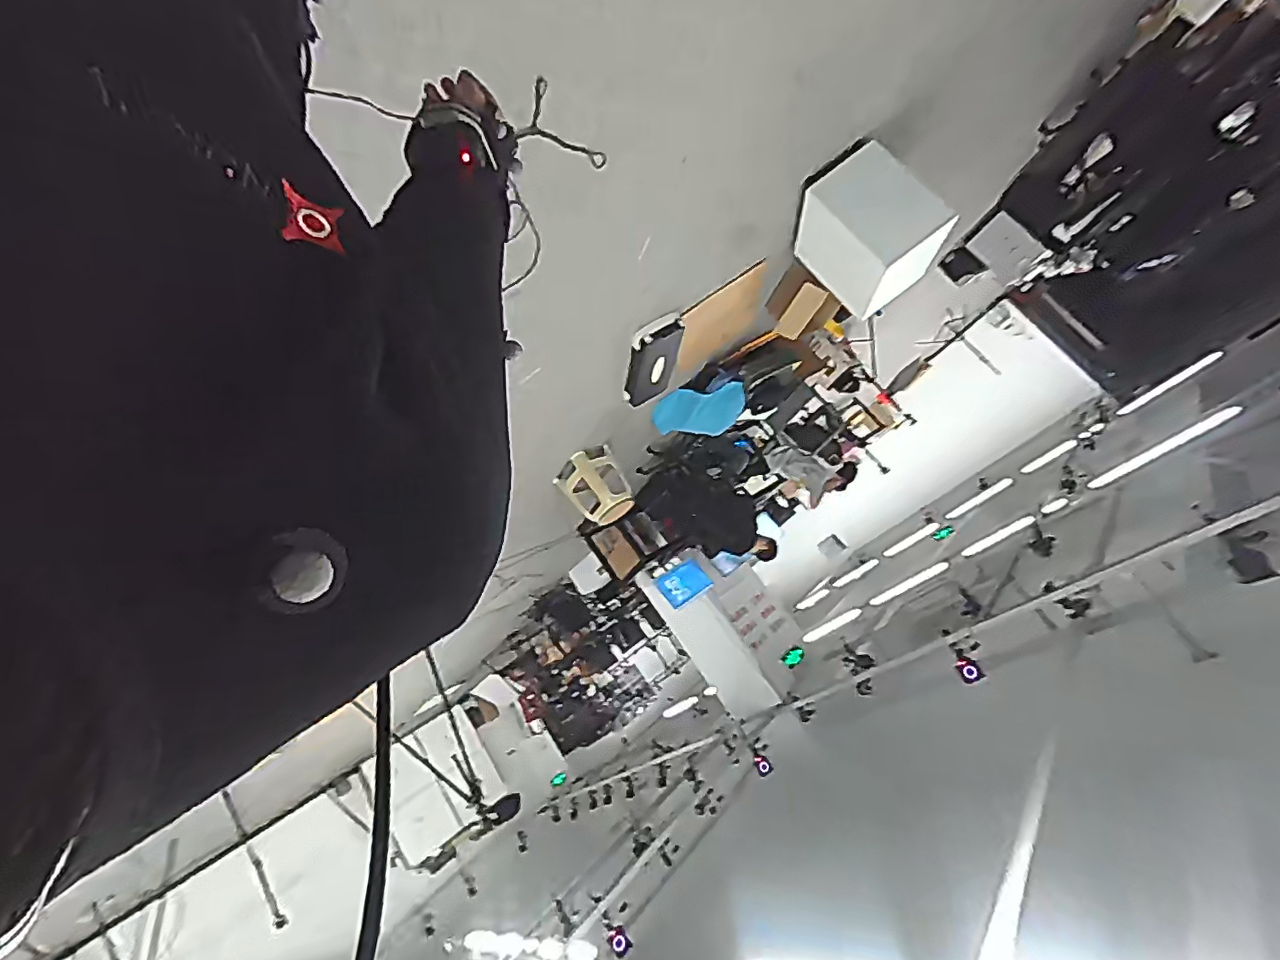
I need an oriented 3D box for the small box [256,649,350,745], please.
[{"bbox_3d":[-0.999,0.635,1.596,0.179,0.176,0.168,-21,159,-51],"label":"small box"}]
